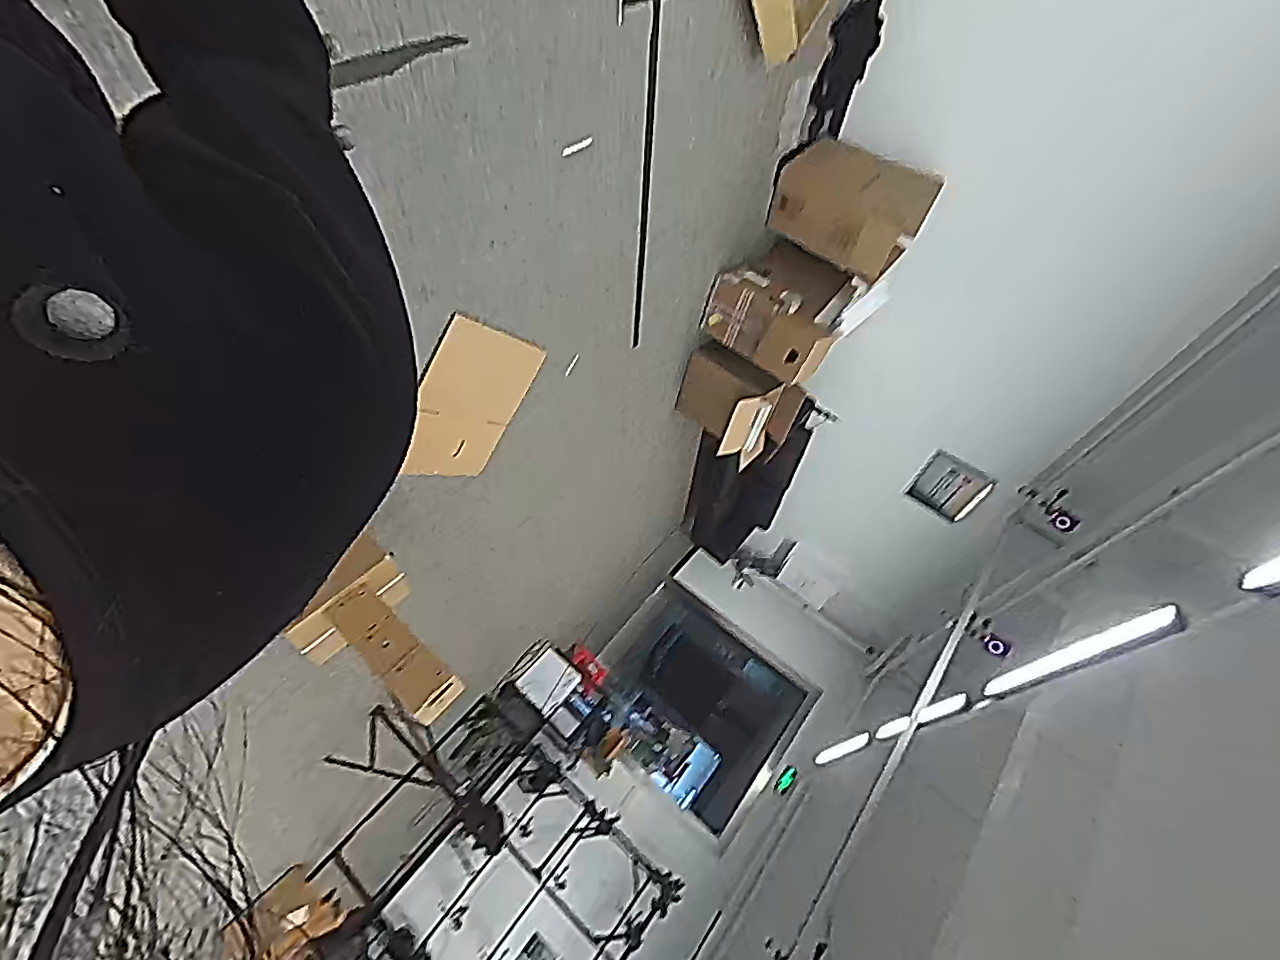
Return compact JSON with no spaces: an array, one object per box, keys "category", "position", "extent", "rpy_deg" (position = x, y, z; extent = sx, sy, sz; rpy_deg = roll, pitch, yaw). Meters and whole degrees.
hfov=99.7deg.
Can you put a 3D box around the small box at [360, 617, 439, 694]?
[{"category":"small box","position":[-0.836,0.604,1.879],"extent":[0.168,0.176,0.179],"rpy_deg":[-42,156,-30]}]

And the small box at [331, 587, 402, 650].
[{"category":"small box","position":[-0.961,0.508,1.927],"extent":[0.168,0.176,0.179],"rpy_deg":[-41,157,-32]}]
